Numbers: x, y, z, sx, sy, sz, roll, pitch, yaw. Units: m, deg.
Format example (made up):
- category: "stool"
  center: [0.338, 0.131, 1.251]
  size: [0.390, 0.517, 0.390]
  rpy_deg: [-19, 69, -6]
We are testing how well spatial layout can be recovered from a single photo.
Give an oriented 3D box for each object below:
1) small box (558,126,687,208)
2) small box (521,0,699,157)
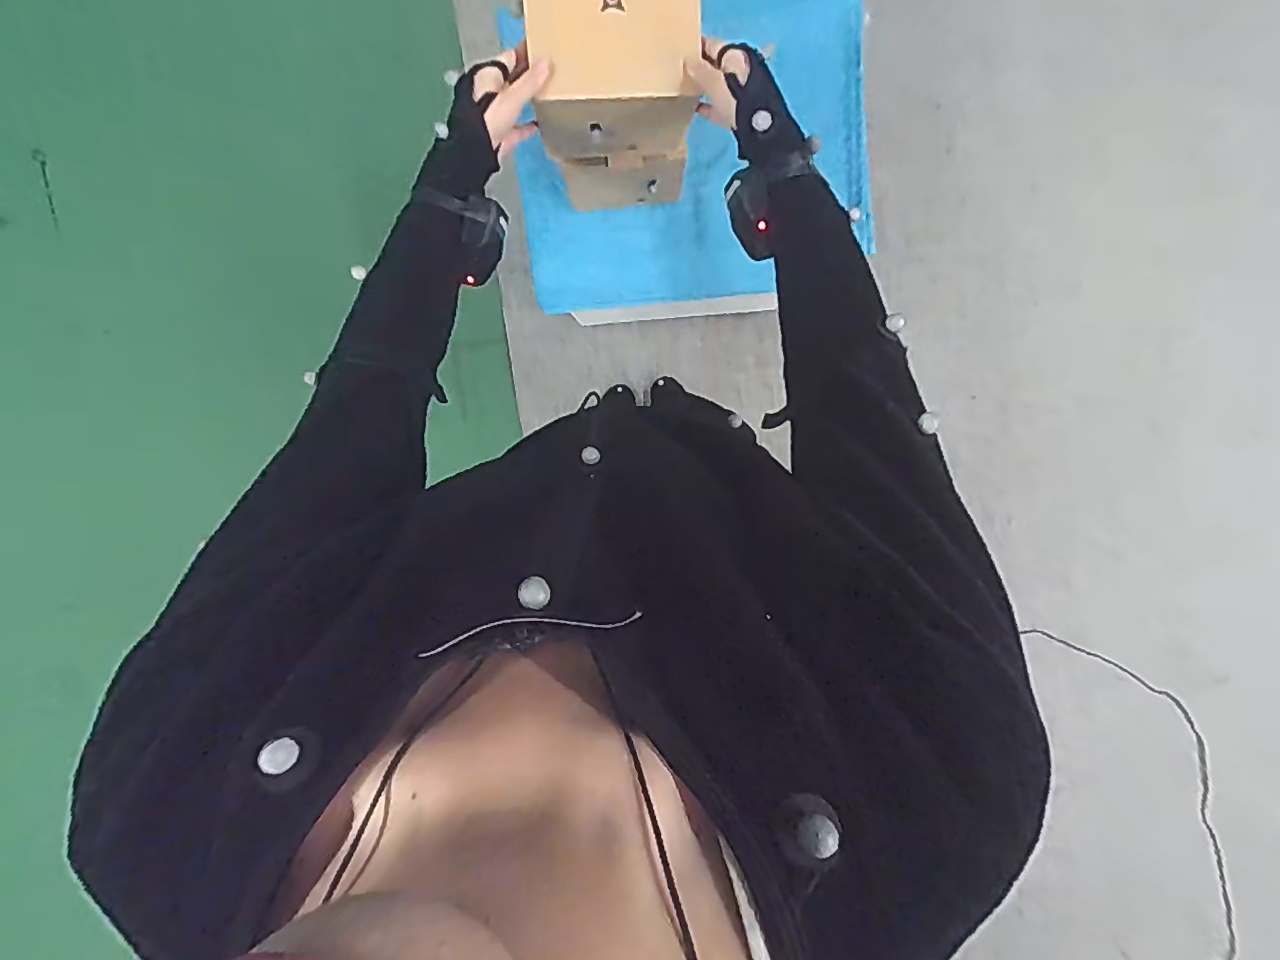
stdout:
- category: "small box"
  center: [-0.027, -0.493, 0.745]
  size: [0.168, 0.176, 0.179]
  rpy_deg: [-5, 98, 0]
- category: "small box"
  center: [-0.031, -0.461, 0.570]
  size: [0.168, 0.176, 0.179]
  rpy_deg: [-4, 102, -4]
